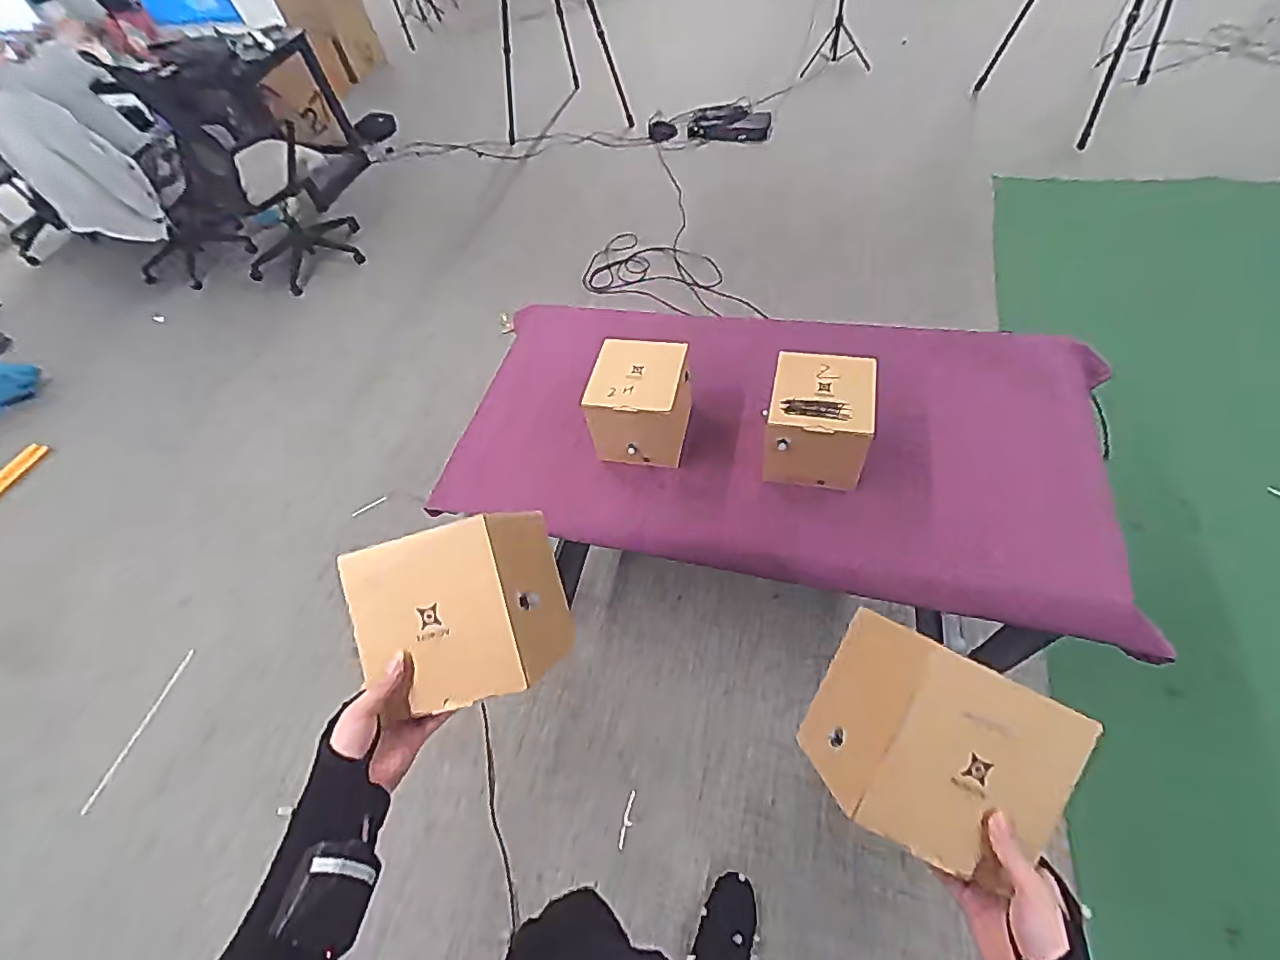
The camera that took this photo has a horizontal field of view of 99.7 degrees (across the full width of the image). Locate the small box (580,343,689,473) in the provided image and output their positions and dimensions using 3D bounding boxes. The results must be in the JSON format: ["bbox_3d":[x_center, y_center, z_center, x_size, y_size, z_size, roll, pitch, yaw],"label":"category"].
[{"bbox_3d":[-0.001,-0.138,1.044,0.168,0.176,0.179,7,57,13],"label":"small box"}]

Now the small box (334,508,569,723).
[{"bbox_3d":[-0.193,0.135,0.597,0.168,0.176,0.179,-16,86,7],"label":"small box"}]

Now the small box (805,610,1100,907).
[{"bbox_3d":[0.288,0.256,0.545,0.168,0.176,0.179,27,88,0],"label":"small box"}]
